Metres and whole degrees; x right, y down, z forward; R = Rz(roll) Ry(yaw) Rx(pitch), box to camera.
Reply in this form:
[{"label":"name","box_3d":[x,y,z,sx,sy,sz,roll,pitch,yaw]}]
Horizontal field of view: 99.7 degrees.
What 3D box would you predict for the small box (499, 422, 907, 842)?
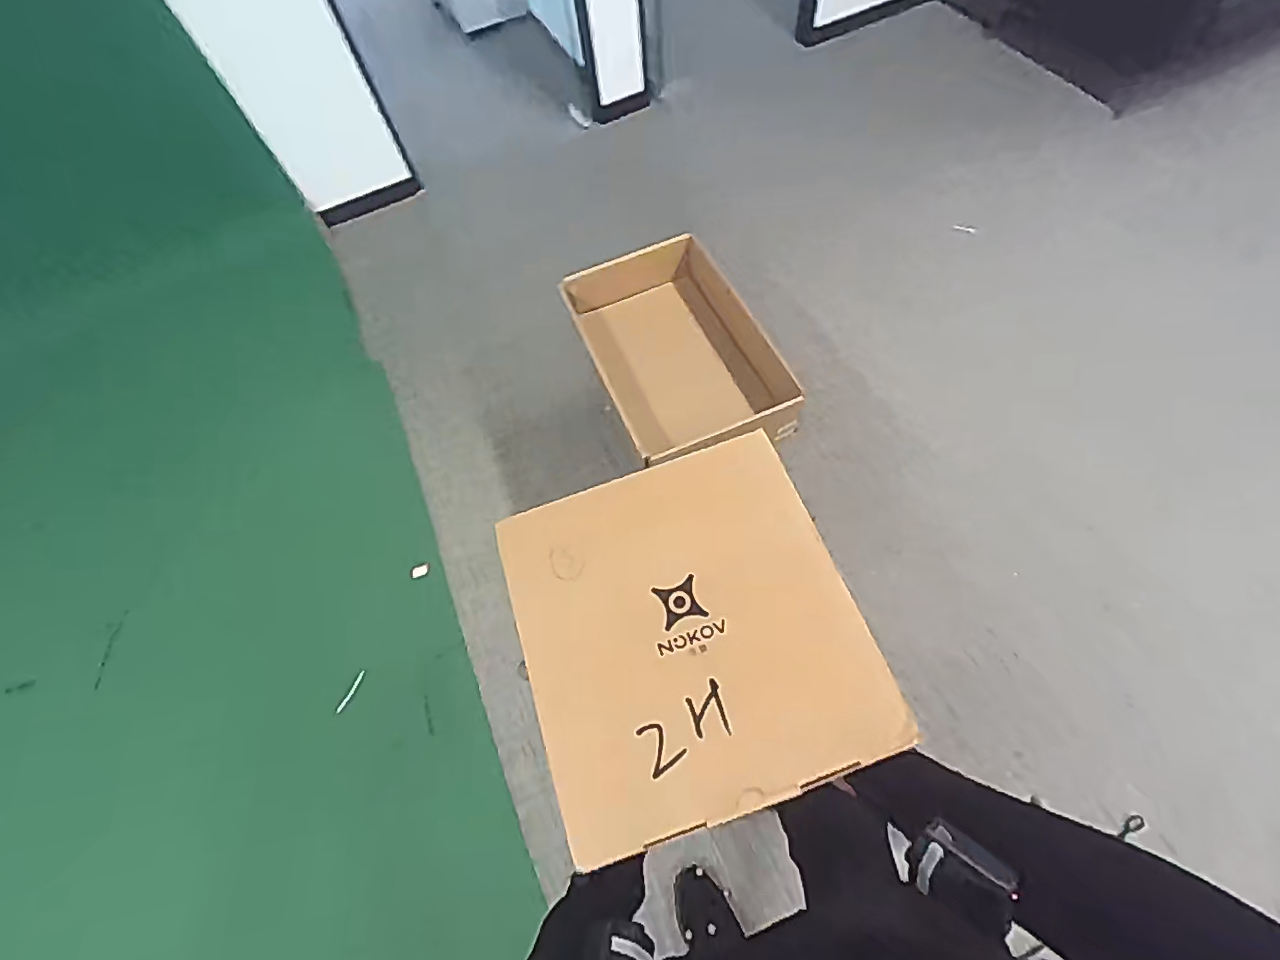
[{"label":"small box","box_3d":[0.028,0.096,0.350,0.168,0.176,0.179,-20,65,-2]}]
